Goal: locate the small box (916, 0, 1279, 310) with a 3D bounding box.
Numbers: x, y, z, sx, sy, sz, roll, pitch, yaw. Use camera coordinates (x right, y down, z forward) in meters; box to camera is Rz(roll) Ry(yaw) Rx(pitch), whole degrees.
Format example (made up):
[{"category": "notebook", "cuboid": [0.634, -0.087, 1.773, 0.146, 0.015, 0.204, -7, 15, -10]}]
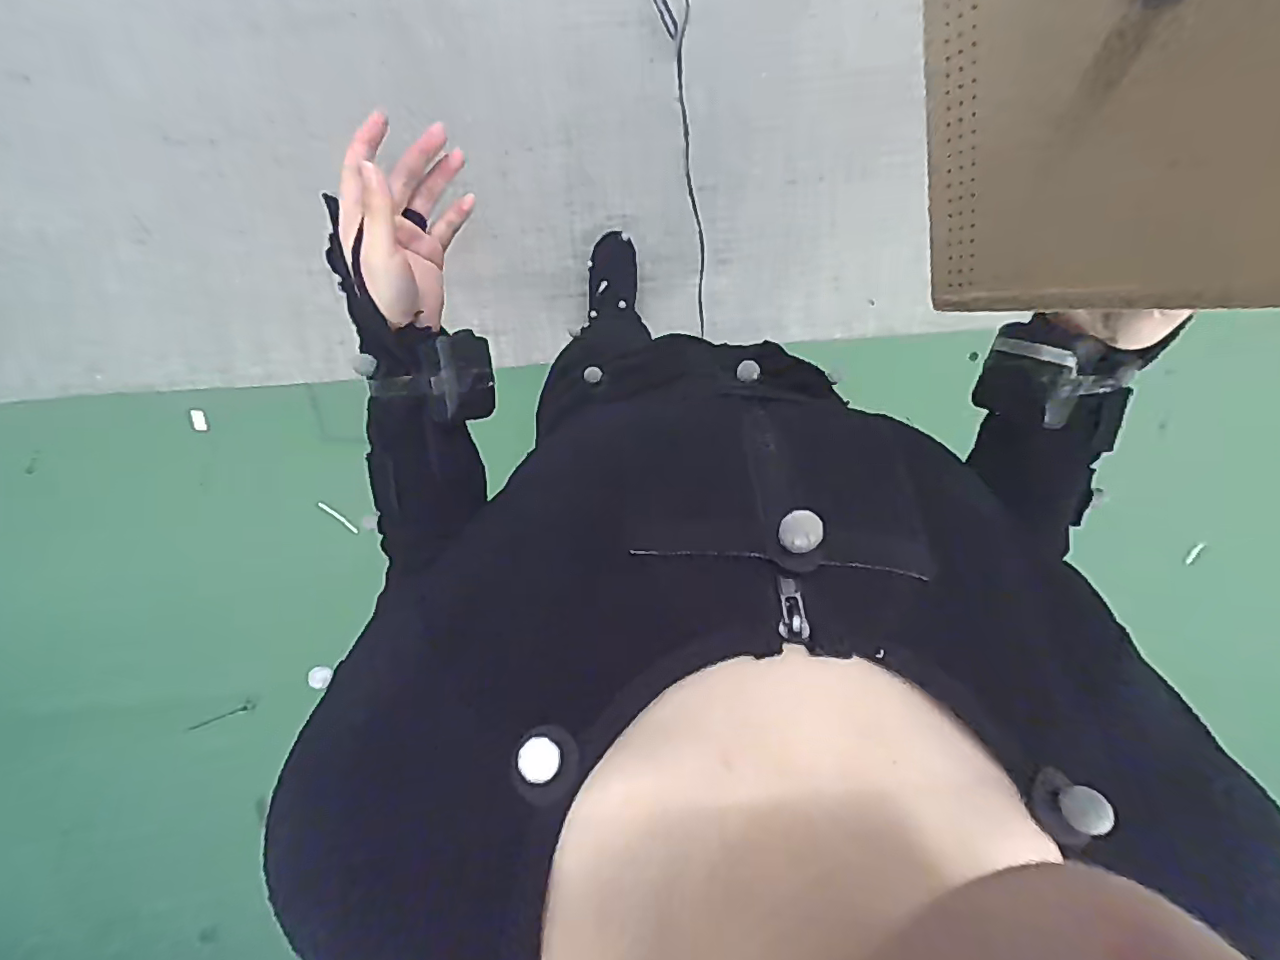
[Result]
[{"category": "small box", "cuboid": [0.230, -0.172, 0.201, 0.168, 0.176, 0.179, -18, 108, -8]}]
